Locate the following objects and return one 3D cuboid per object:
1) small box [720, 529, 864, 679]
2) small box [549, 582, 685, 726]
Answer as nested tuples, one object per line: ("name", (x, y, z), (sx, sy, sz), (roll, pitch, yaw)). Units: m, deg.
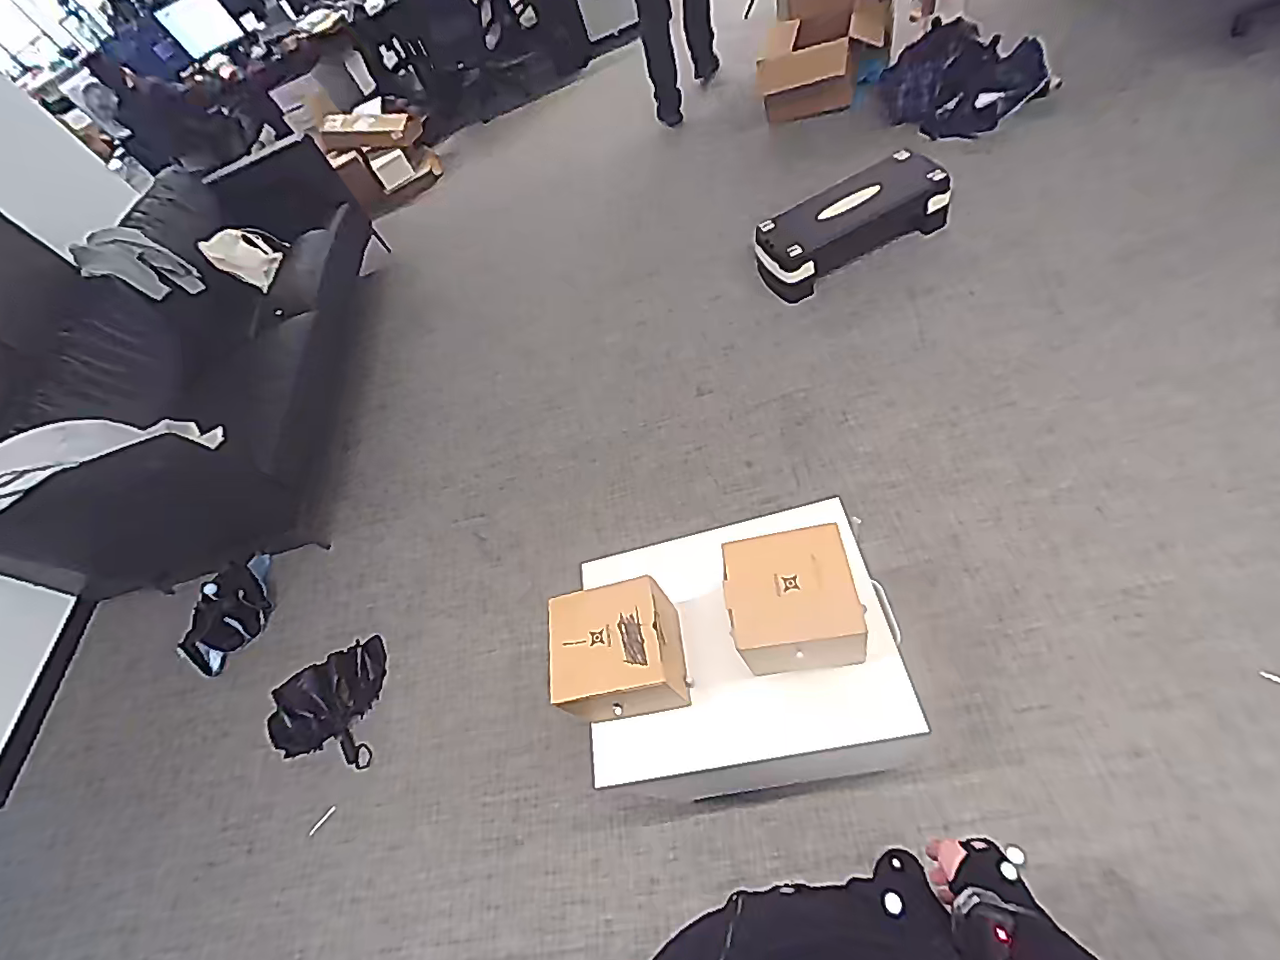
("small box", (0.233, 0.197, 0.828), (0.179, 0.176, 0.168), (-12, 56, 13))
("small box", (-0.032, 0.286, 0.870), (0.179, 0.176, 0.168), (-16, 54, 12))
